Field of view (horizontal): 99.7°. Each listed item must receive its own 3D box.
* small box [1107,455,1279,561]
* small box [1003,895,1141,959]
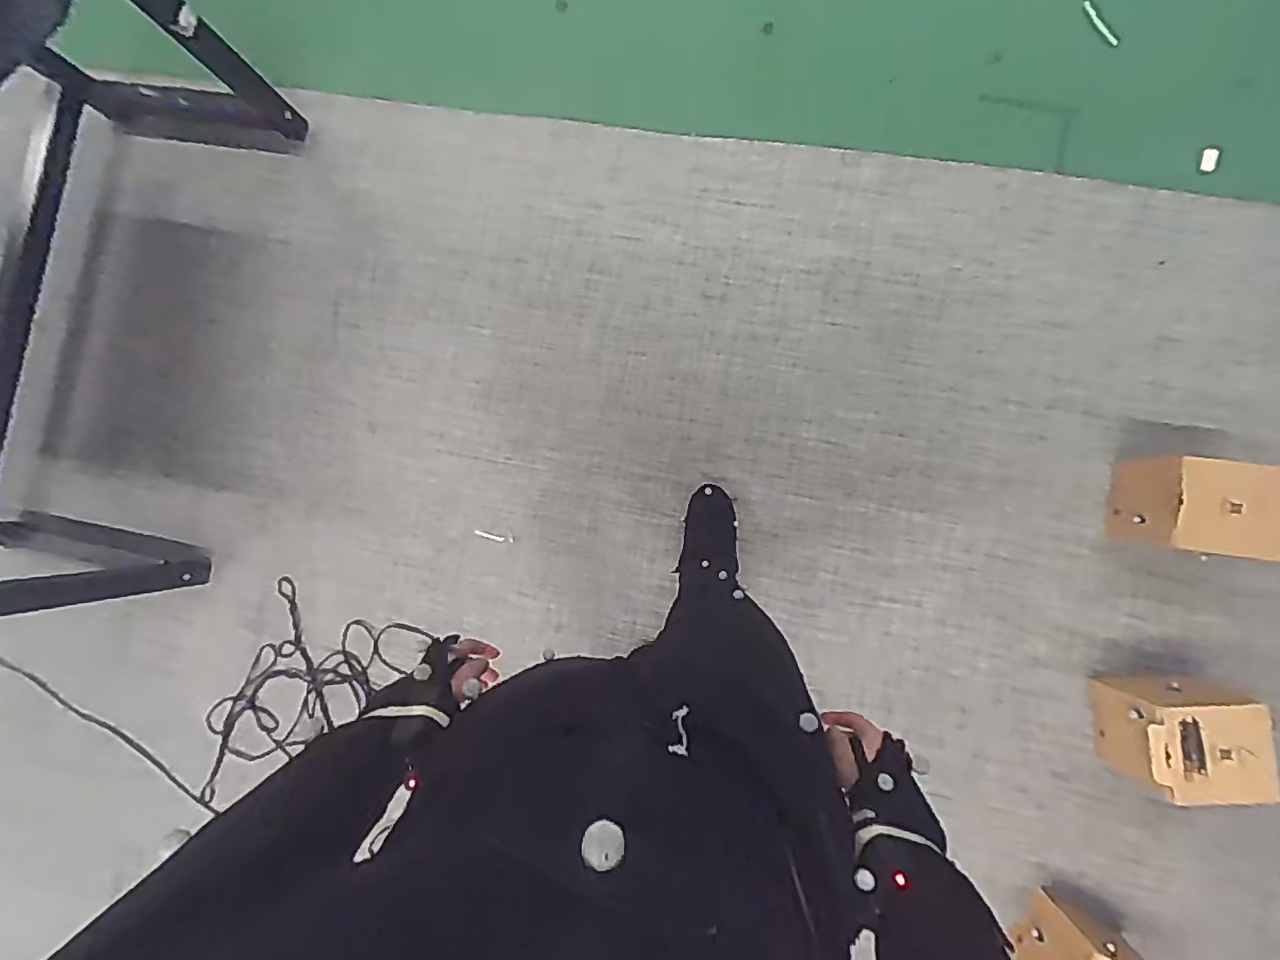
[{"bbox_3d":[1.033,0.051,1.015,0.179,0.176,0.168,7,89,6],"label":"small box"},{"bbox_3d":[0.826,0.923,0.991,0.179,0.176,0.168,30,91,7],"label":"small box"}]
